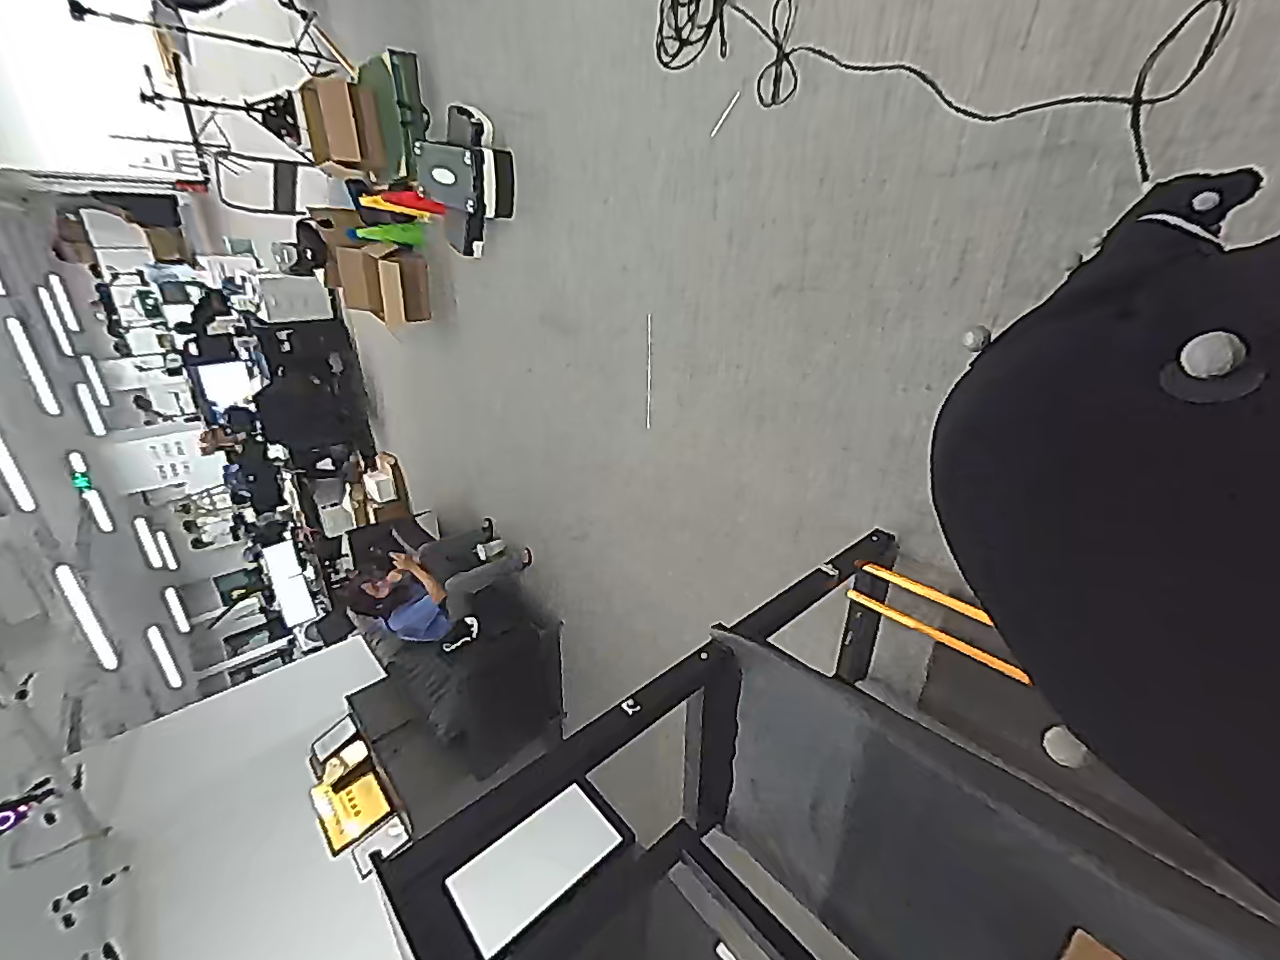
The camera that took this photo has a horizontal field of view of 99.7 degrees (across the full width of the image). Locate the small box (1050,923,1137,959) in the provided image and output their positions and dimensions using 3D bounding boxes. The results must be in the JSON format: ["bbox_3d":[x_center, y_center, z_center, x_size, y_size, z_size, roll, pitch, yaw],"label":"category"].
[{"bbox_3d":[0.625,0.756,0.711,0.168,0.176,0.179,25,124,42],"label":"small box"}]
